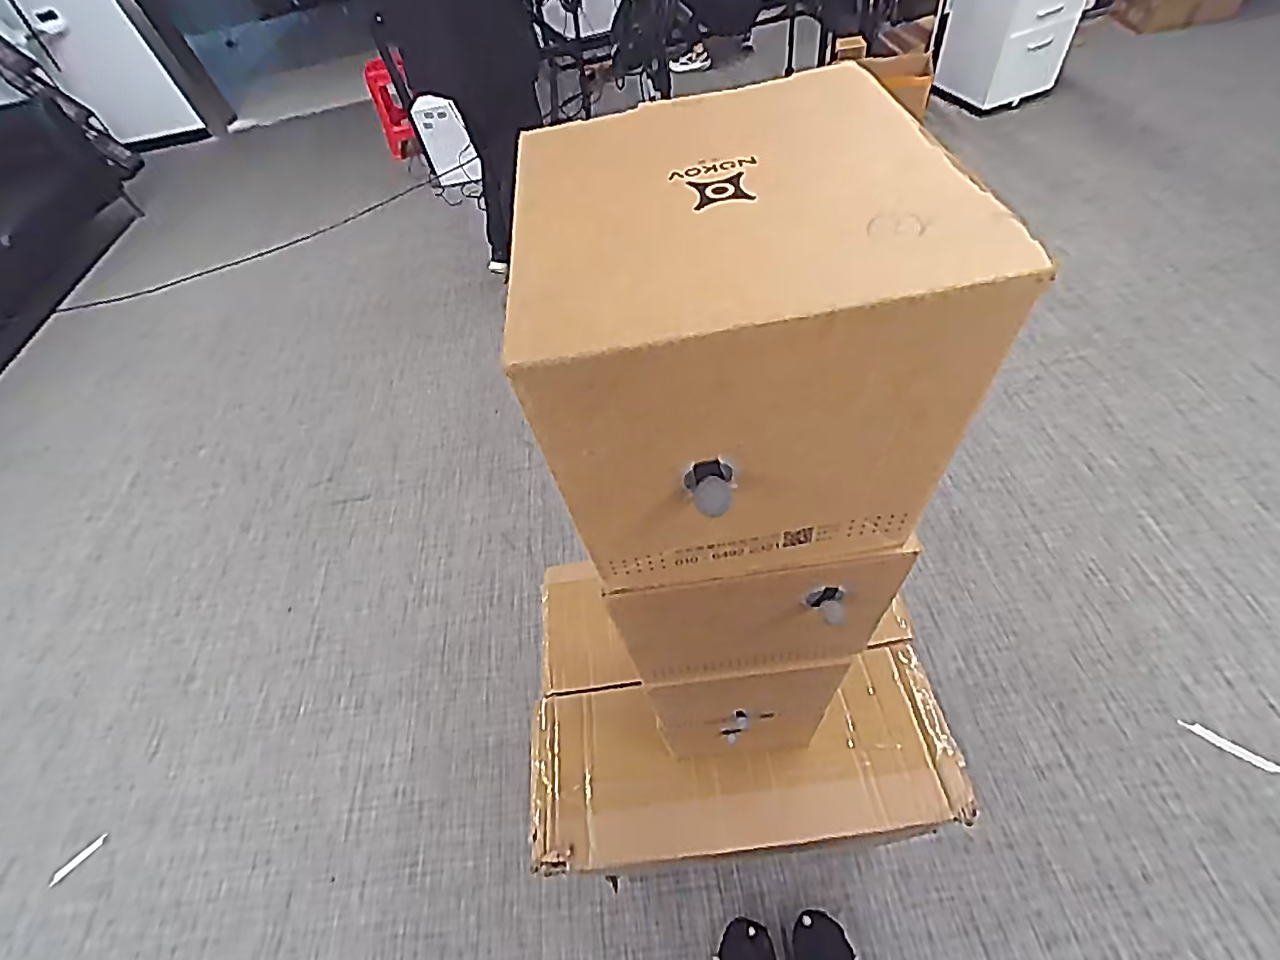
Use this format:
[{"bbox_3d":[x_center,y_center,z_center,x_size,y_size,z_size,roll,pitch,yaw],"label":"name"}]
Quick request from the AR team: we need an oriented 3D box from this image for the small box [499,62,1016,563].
[{"bbox_3d":[0.038,-0.071,0.279,0.168,0.176,0.179,-10,53,3],"label":"small box"}]

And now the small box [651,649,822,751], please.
[{"bbox_3d":[0.109,0.224,0.666,0.179,0.176,0.168,-8,53,4],"label":"small box"}]

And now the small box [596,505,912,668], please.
[{"bbox_3d":[0.066,0.028,0.405,0.179,0.176,0.168,-9,53,4],"label":"small box"}]
